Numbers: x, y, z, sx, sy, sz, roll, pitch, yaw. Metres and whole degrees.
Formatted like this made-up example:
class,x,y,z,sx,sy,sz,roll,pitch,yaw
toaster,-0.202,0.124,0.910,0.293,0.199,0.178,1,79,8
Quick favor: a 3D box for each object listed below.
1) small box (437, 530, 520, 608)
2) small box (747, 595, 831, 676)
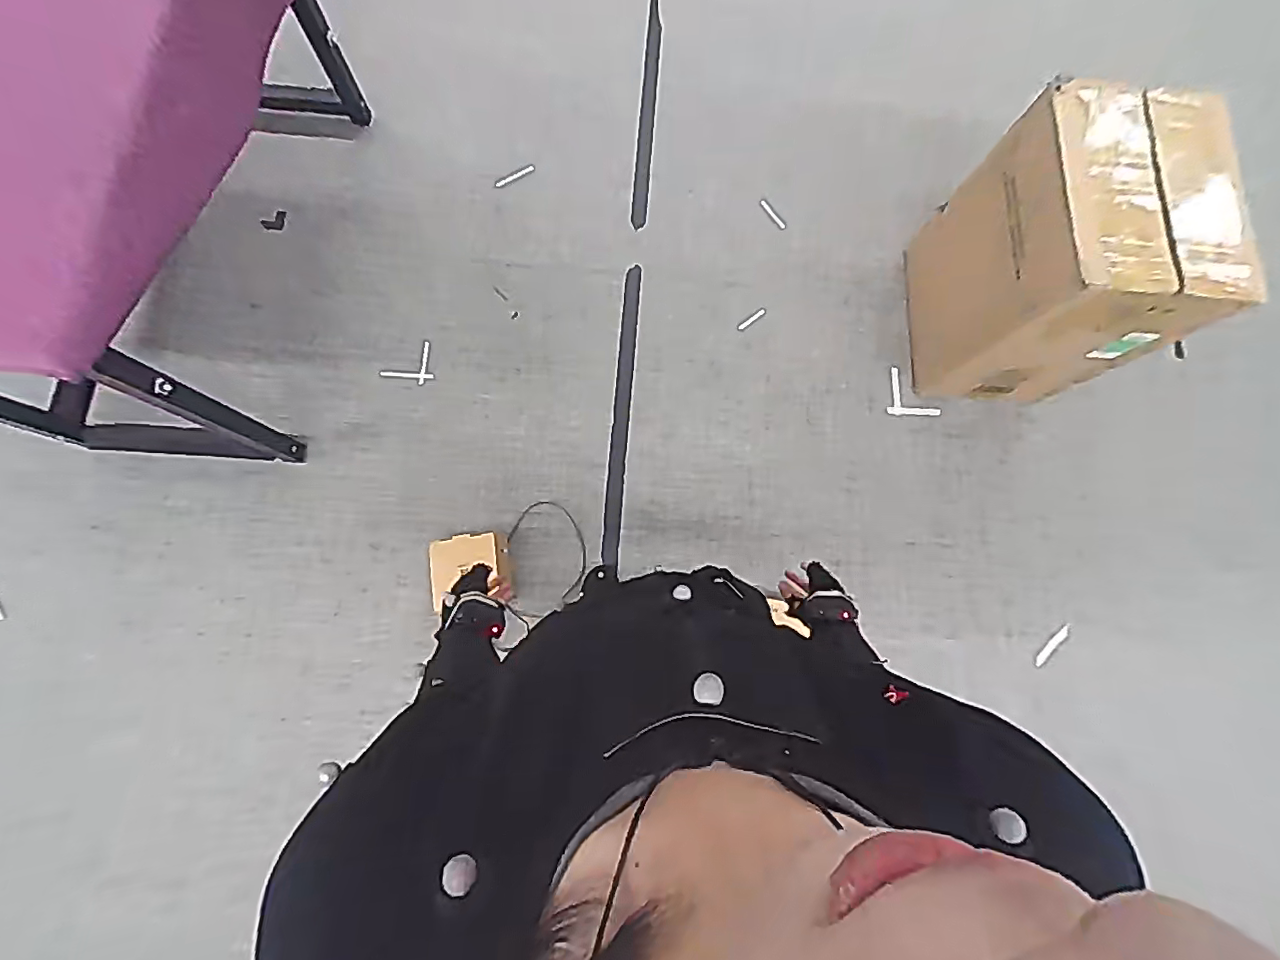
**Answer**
class,x,y,z,sx,sy,sz,roll,pitch,yaw
small box,-0.423,0.239,1.431,0.168,0.176,0.179,-9,79,-2
small box,0.391,0.410,1.445,0.168,0.176,0.179,10,78,-1
